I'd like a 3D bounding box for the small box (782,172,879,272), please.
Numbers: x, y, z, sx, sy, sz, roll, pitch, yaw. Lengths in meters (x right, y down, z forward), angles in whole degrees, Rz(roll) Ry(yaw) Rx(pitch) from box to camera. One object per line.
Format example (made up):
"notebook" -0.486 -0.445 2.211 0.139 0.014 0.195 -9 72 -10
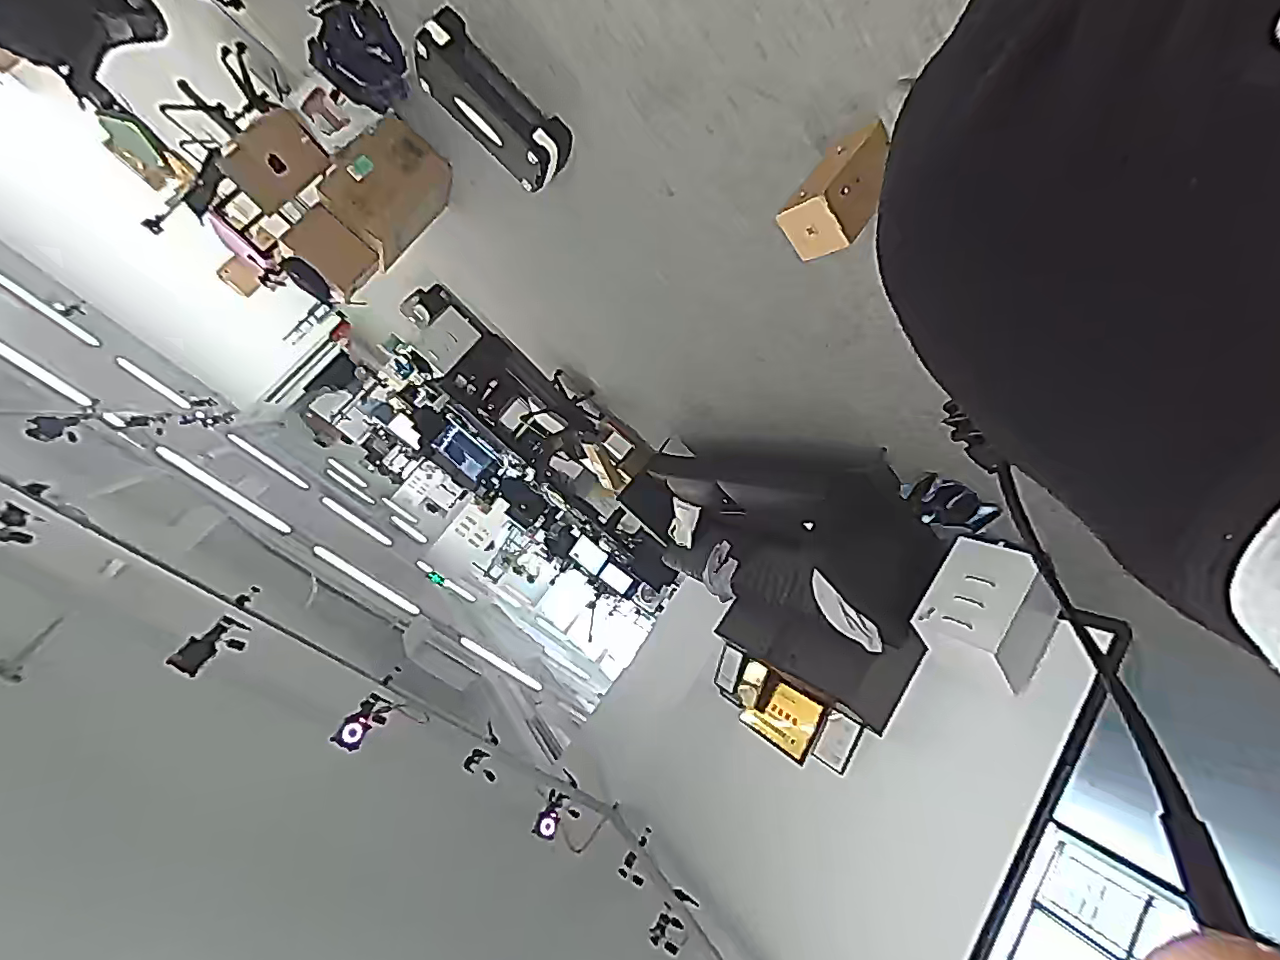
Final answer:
"small box" 0.549 -0.731 1.537 0.168 0.176 0.179 45 166 -24

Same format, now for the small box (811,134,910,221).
"small box" 0.644 -0.857 1.576 0.168 0.176 0.179 44 164 -25
